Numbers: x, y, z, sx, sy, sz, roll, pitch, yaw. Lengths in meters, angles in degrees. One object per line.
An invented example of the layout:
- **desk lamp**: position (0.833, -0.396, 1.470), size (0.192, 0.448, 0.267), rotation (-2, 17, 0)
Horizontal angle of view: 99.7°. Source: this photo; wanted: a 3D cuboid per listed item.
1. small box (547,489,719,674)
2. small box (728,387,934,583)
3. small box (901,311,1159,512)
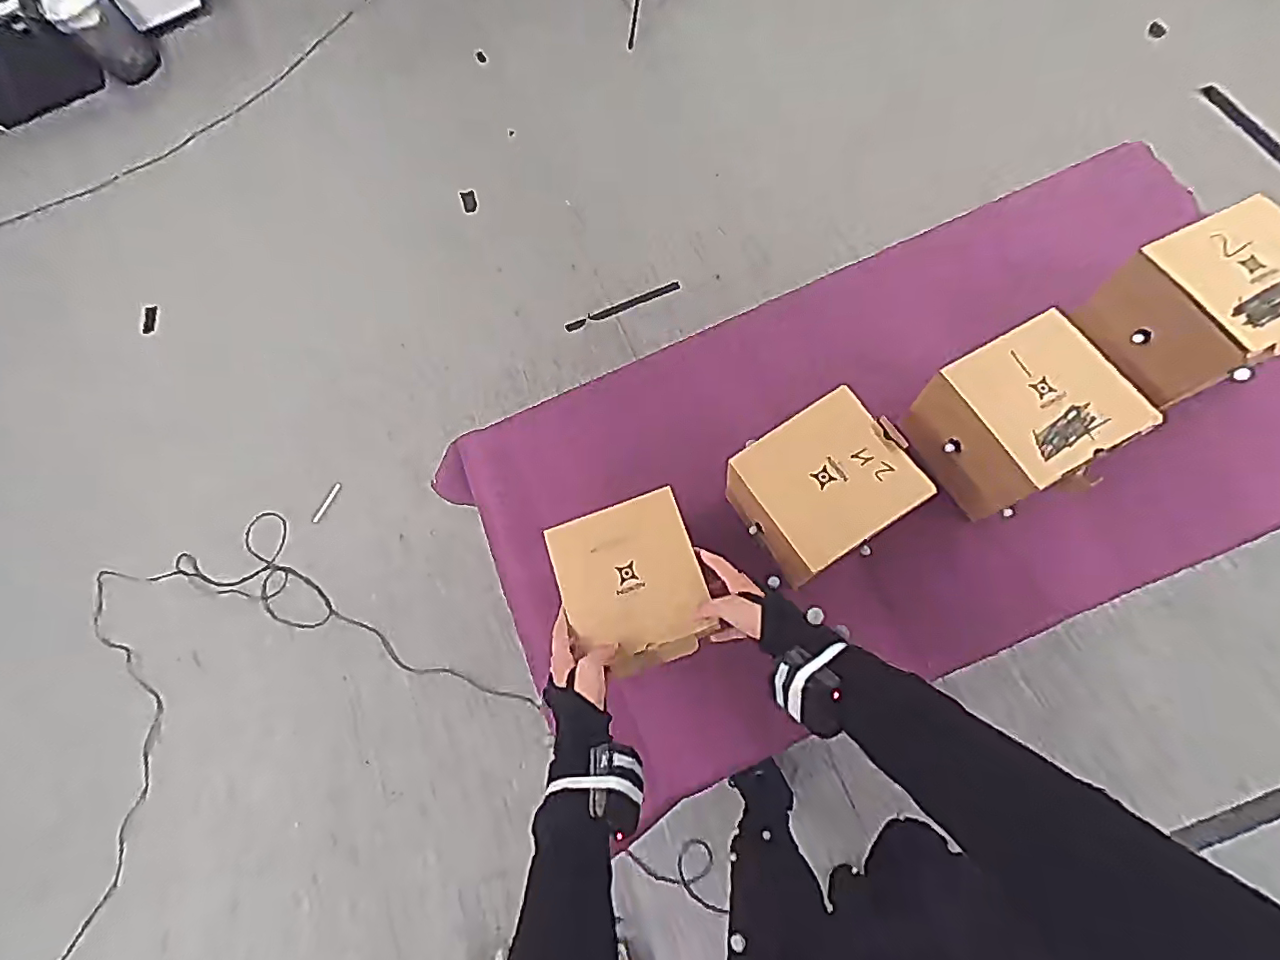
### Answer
- **small box**: position (-0.002, 0.136, 0.703), size (0.168, 0.176, 0.179), rotation (-19, 71, 1)
- **small box**: position (0.231, 0.019, 0.706), size (0.179, 0.176, 0.168), rotation (-32, 72, -3)
- **small box**: position (0.480, -0.074, 0.701), size (0.168, 0.176, 0.179), rotation (-28, 70, -2)
